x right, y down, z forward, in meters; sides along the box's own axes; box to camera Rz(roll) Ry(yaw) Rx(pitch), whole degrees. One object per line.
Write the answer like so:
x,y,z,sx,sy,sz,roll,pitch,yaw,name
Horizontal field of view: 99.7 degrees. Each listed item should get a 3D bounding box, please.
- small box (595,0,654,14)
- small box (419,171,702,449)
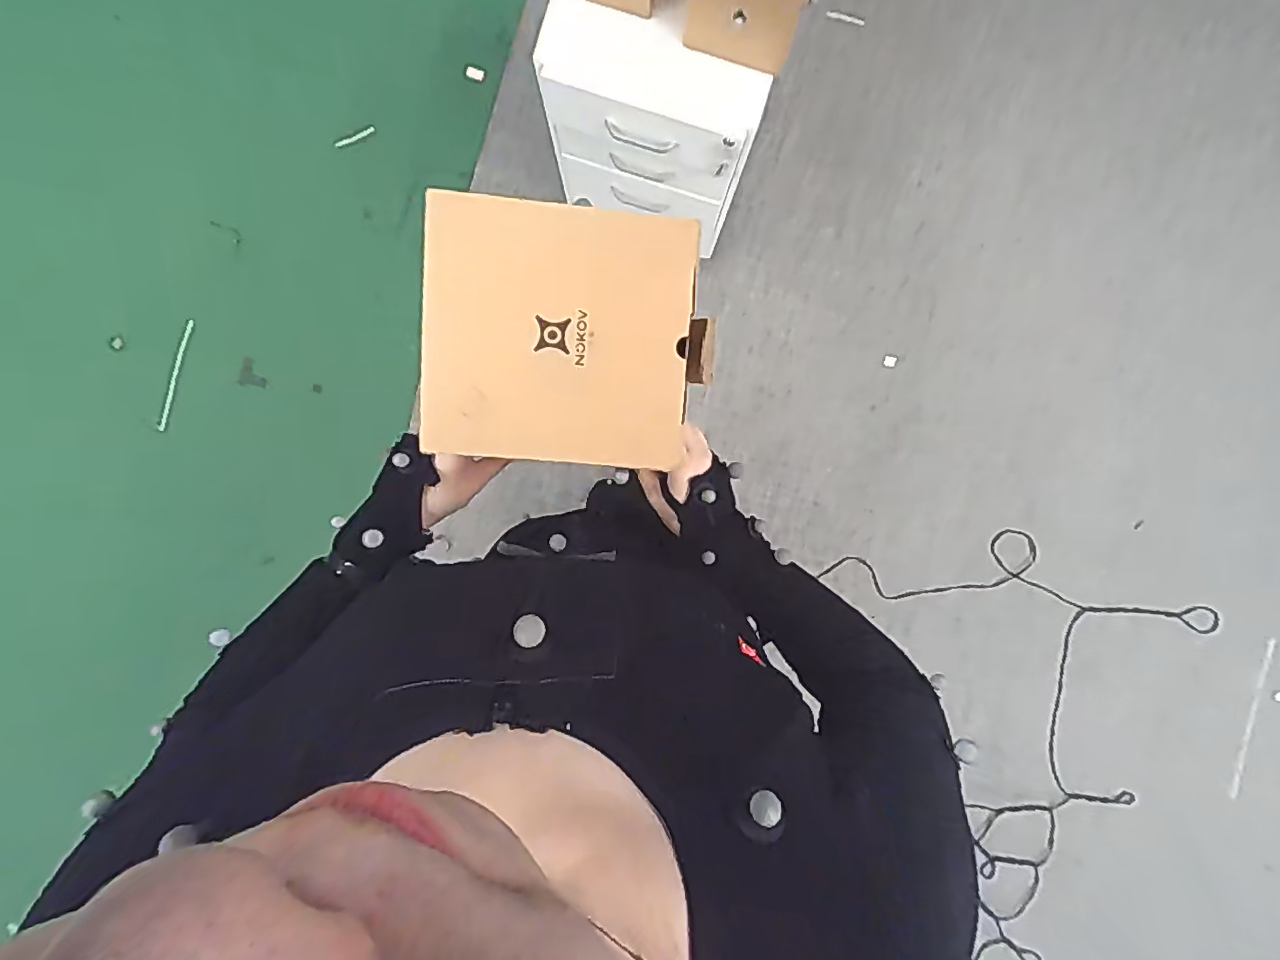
-0.046,-0.871,0.823,0.179,0.176,0.168,16,90,-2,small box
-0.059,-0.115,0.432,0.179,0.176,0.168,4,96,-7,small box
